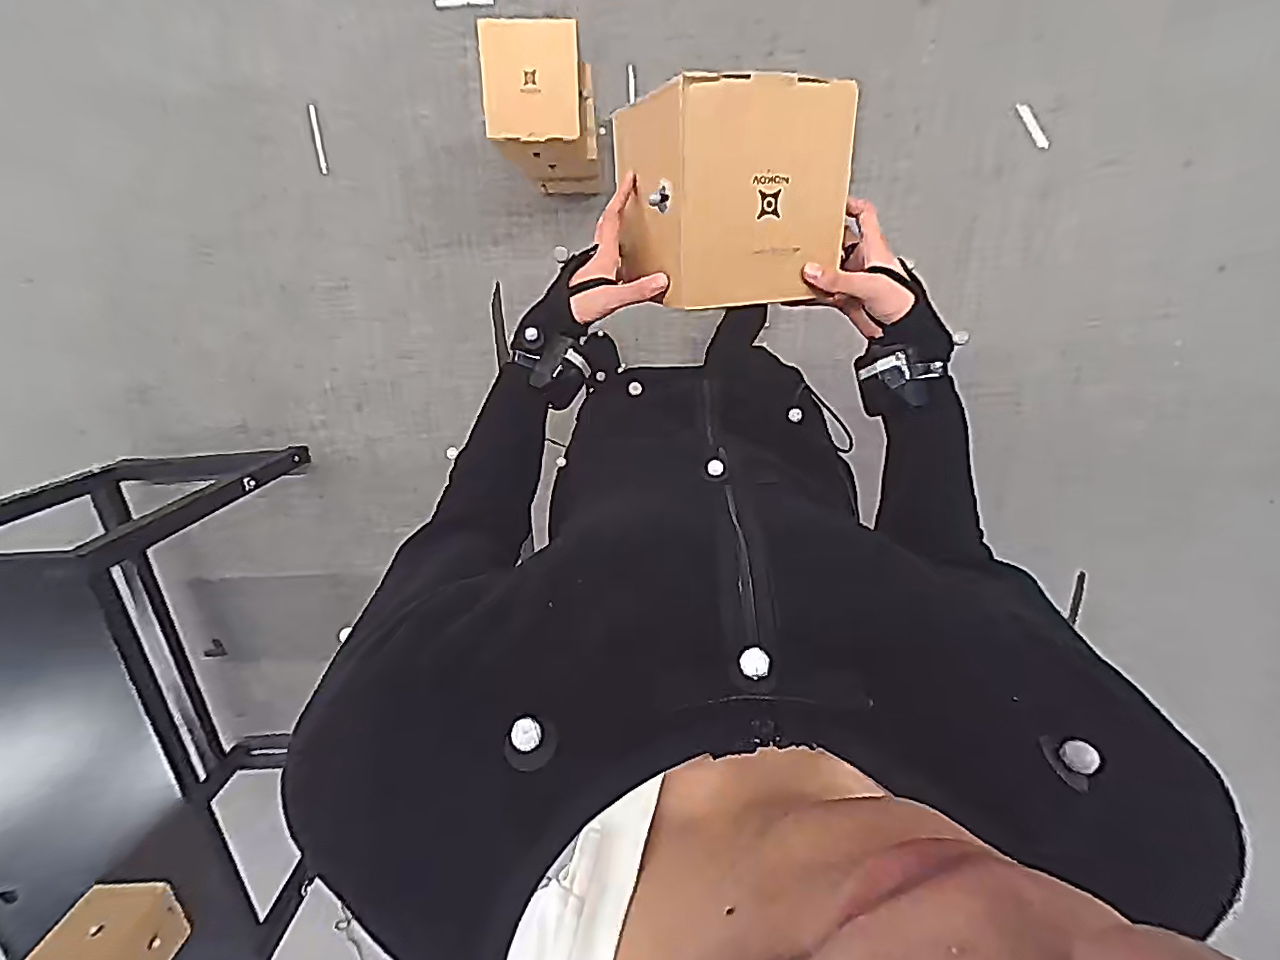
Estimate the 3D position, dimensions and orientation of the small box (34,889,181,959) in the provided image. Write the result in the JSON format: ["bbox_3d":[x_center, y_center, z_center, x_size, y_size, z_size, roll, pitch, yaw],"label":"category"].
[{"bbox_3d":[-1.145,1.020,1.164,0.179,0.176,0.168,-4,109,1],"label":"small box"}]

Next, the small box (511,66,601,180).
[{"bbox_3d":[-0.177,-0.745,1.145,0.179,0.176,0.168,-3,109,-1],"label":"small box"}]

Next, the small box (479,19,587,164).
[{"bbox_3d":[-0.187,-0.698,0.989,0.168,0.176,0.179,-1,110,-1],"label":"small box"}]

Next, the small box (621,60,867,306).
[{"bbox_3d":[0.085,-0.272,0.522,0.168,0.176,0.179,-11,117,-18],"label":"small box"}]
